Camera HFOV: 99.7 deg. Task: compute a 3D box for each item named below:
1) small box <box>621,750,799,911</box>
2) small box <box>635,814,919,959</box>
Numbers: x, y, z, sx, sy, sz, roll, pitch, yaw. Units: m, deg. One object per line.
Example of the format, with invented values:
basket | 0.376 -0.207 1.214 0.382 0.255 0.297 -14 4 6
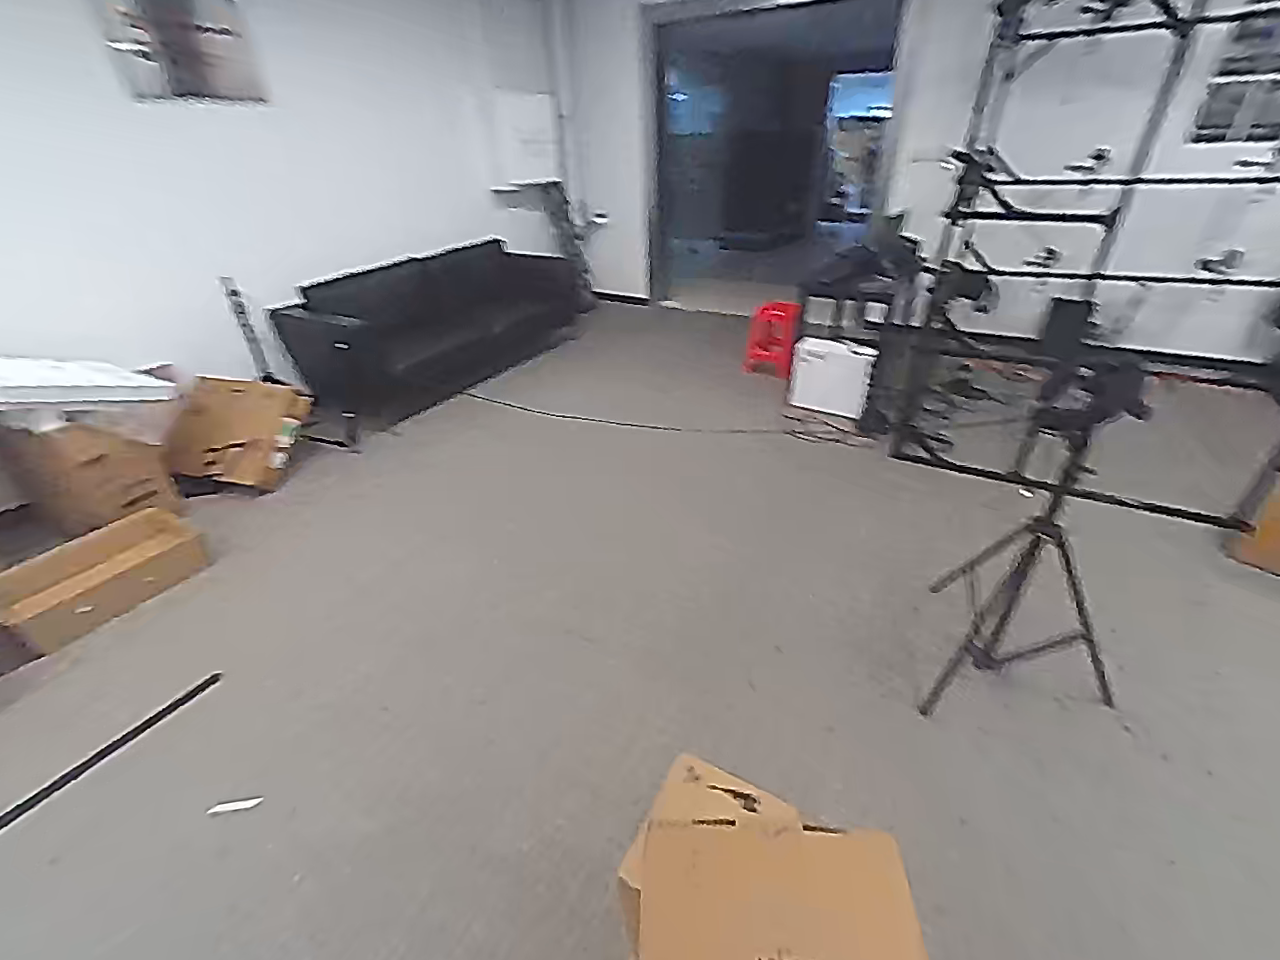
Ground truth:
small box | 0.097 0.503 0.701 0.168 0.176 0.179 14 38 28
small box | 0.078 0.347 0.354 0.168 0.176 0.179 2 42 1
